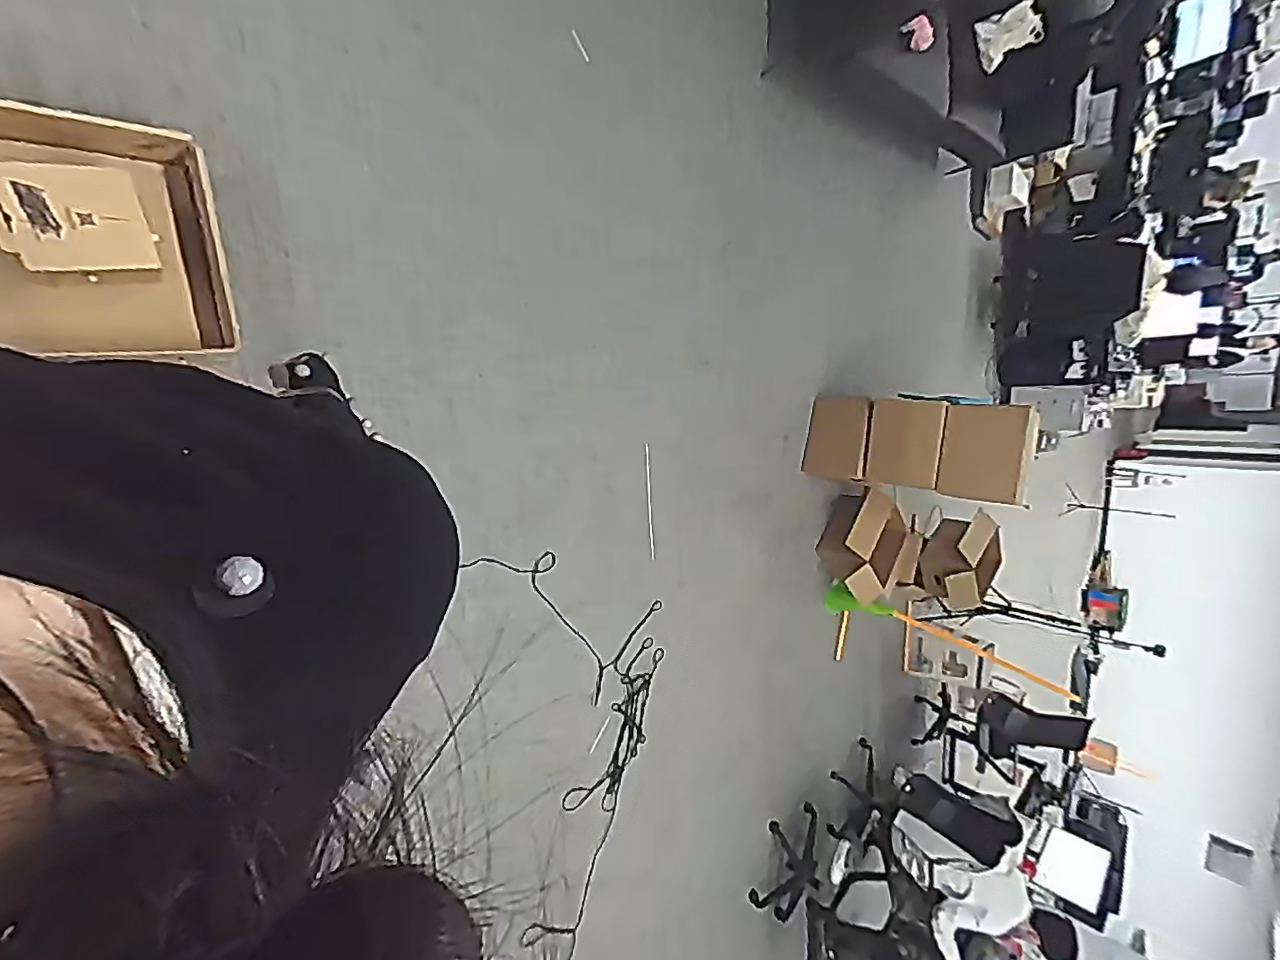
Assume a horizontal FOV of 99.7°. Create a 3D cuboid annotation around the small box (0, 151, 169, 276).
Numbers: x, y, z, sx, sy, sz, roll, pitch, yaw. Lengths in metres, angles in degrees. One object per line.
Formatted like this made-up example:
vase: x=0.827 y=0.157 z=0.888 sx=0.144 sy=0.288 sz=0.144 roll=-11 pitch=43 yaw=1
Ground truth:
small box: x=-0.982 y=-0.467 z=0.971 sx=0.179 sy=0.176 sz=0.168 roll=-21 pitch=111 yaw=-38
